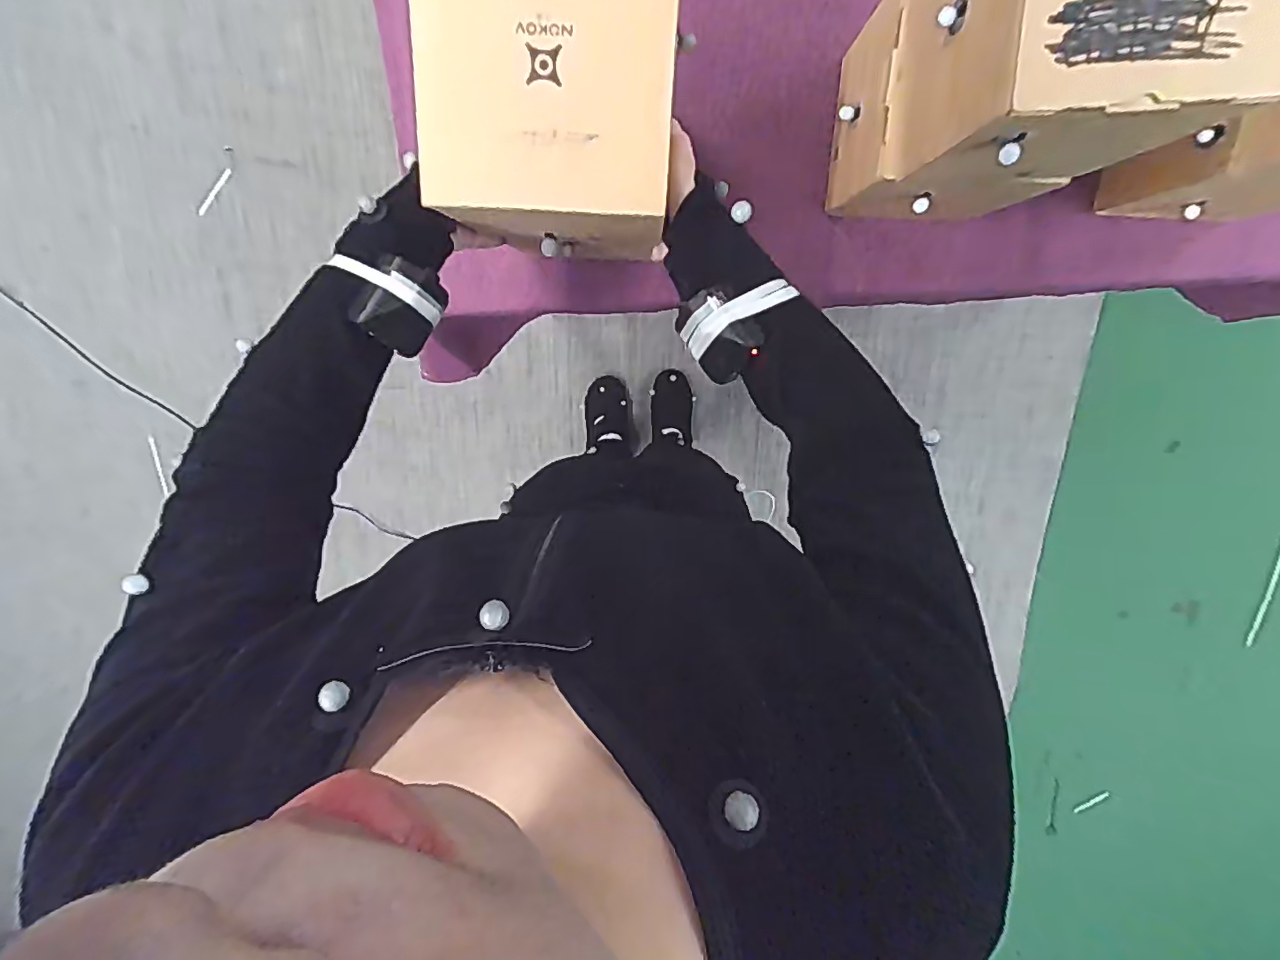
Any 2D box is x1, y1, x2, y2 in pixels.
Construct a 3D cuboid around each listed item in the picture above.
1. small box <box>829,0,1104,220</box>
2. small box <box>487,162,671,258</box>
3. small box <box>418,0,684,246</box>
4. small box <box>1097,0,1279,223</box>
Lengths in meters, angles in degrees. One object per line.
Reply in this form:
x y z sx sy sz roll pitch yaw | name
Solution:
0.309 -0.374 0.555 0.179 0.176 0.168 3 106 2 | small box
-0.056 -0.337 0.576 0.179 0.176 0.168 2 105 0 | small box
-0.057 -0.291 0.418 0.168 0.176 0.179 4 107 0 | small box
0.620 -0.375 0.545 0.168 0.176 0.179 4 106 1 | small box
